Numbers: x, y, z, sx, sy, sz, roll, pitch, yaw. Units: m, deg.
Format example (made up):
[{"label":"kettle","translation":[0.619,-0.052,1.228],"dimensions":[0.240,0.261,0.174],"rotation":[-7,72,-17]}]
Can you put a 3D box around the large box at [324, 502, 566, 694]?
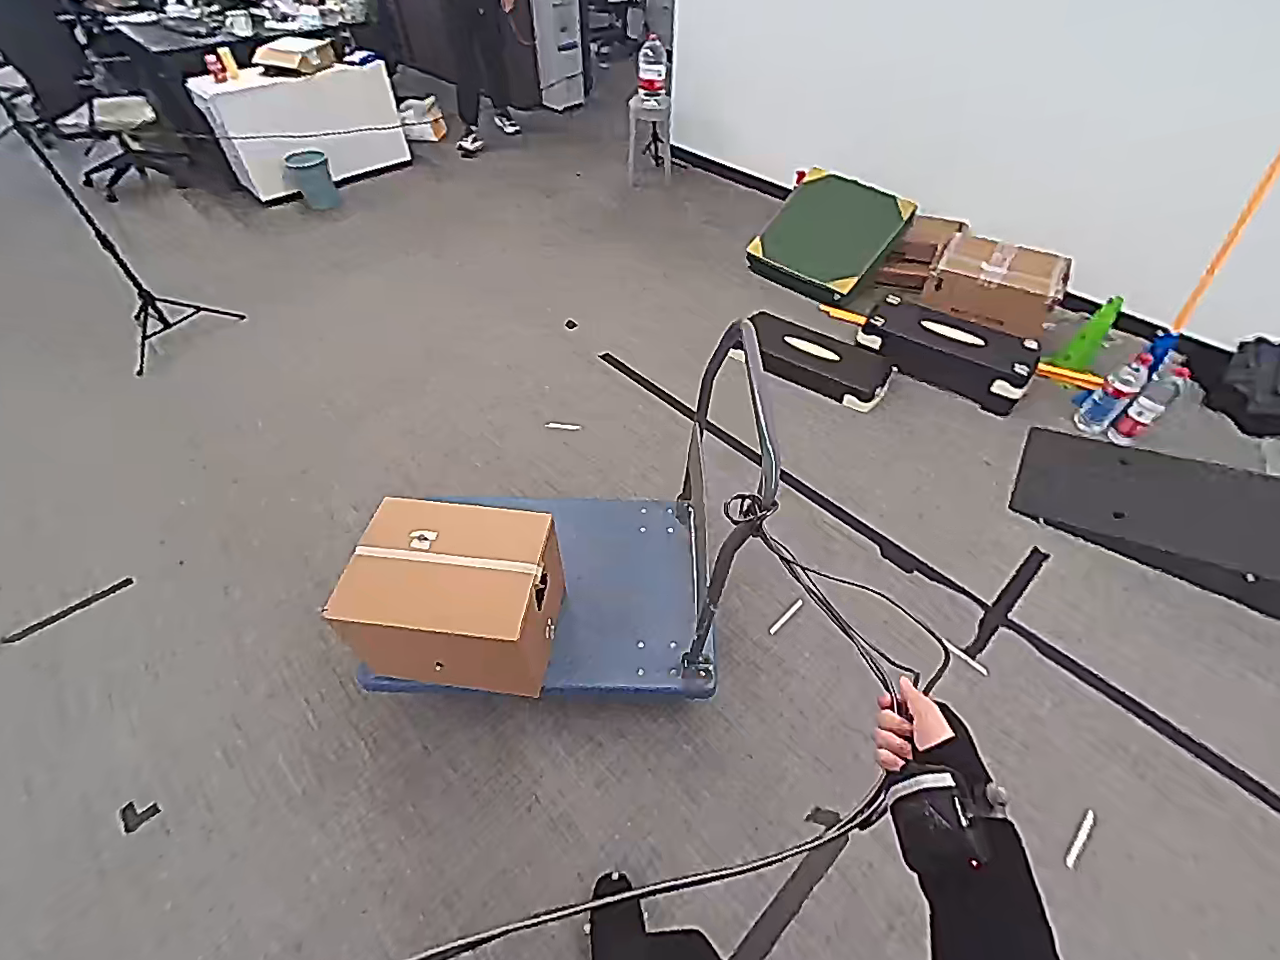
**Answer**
[{"label":"large box","translation":[-0.408,0.278,1.258],"dimensions":[0.408,0.320,0.320],"rotation":[5,48,5]}]
